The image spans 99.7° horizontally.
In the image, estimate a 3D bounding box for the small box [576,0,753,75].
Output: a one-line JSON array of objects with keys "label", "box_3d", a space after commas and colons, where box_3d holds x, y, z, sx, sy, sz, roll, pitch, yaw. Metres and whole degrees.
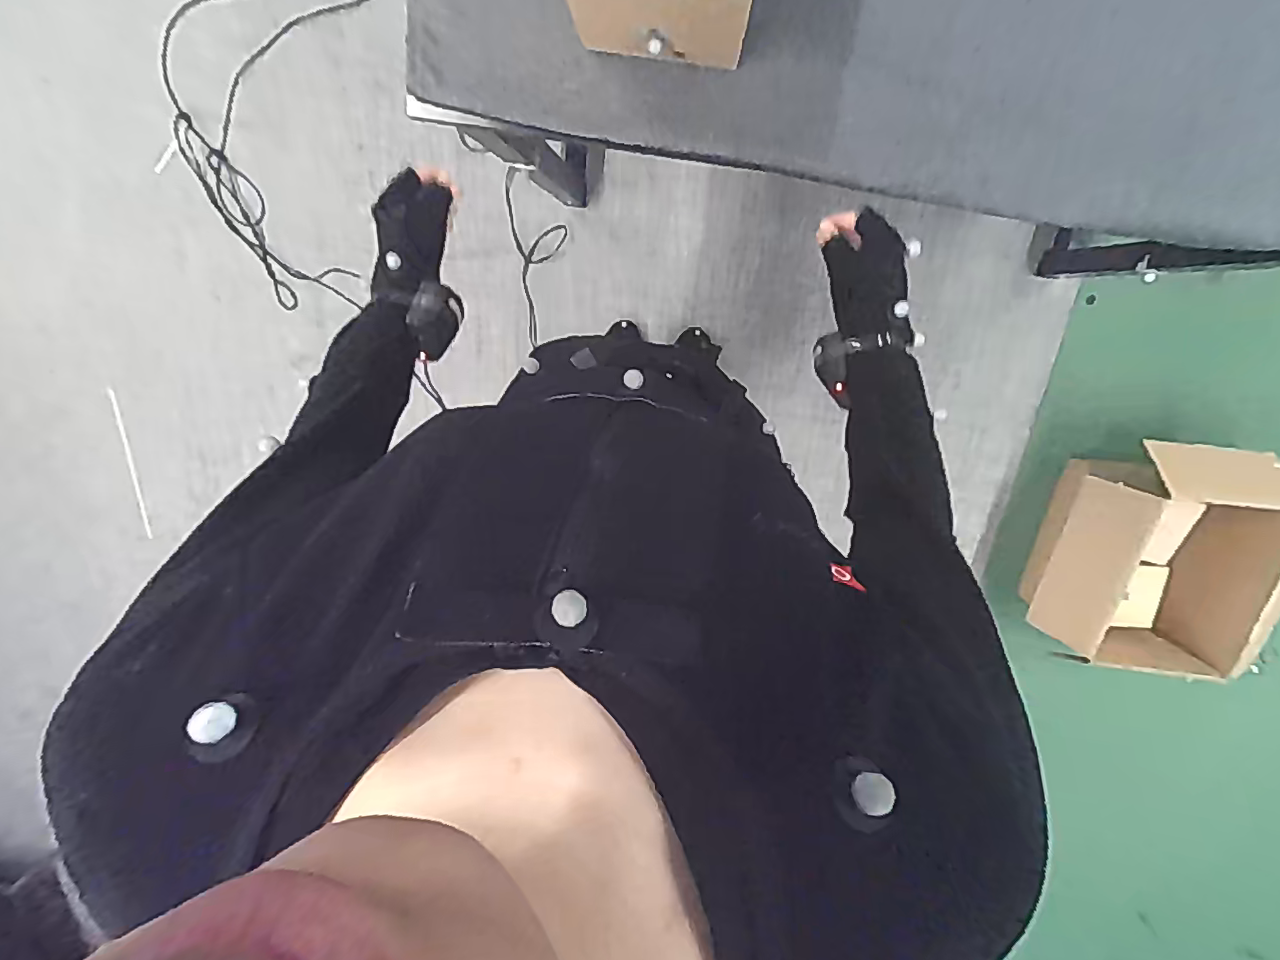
[{"label": "small box", "box_3d": [0.029, -0.503, 0.477, 0.168, 0.176, 0.179, 9, 108, 2]}]
